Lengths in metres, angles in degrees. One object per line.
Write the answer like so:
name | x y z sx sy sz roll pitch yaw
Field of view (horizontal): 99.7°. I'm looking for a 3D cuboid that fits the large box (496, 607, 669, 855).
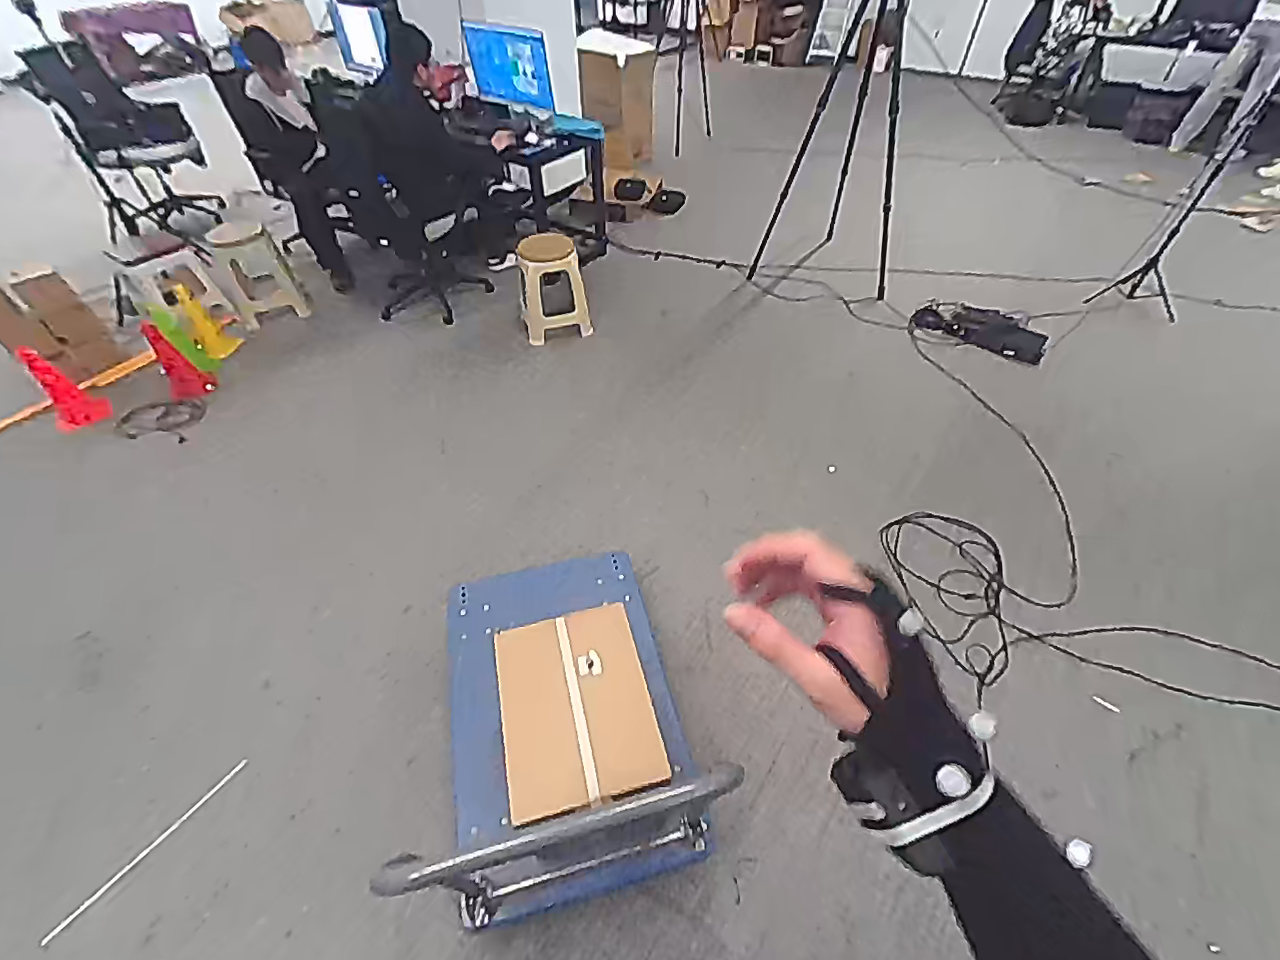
large box | -0.137 0.582 1.276 0.320 0.320 0.408 -11 46 -11
